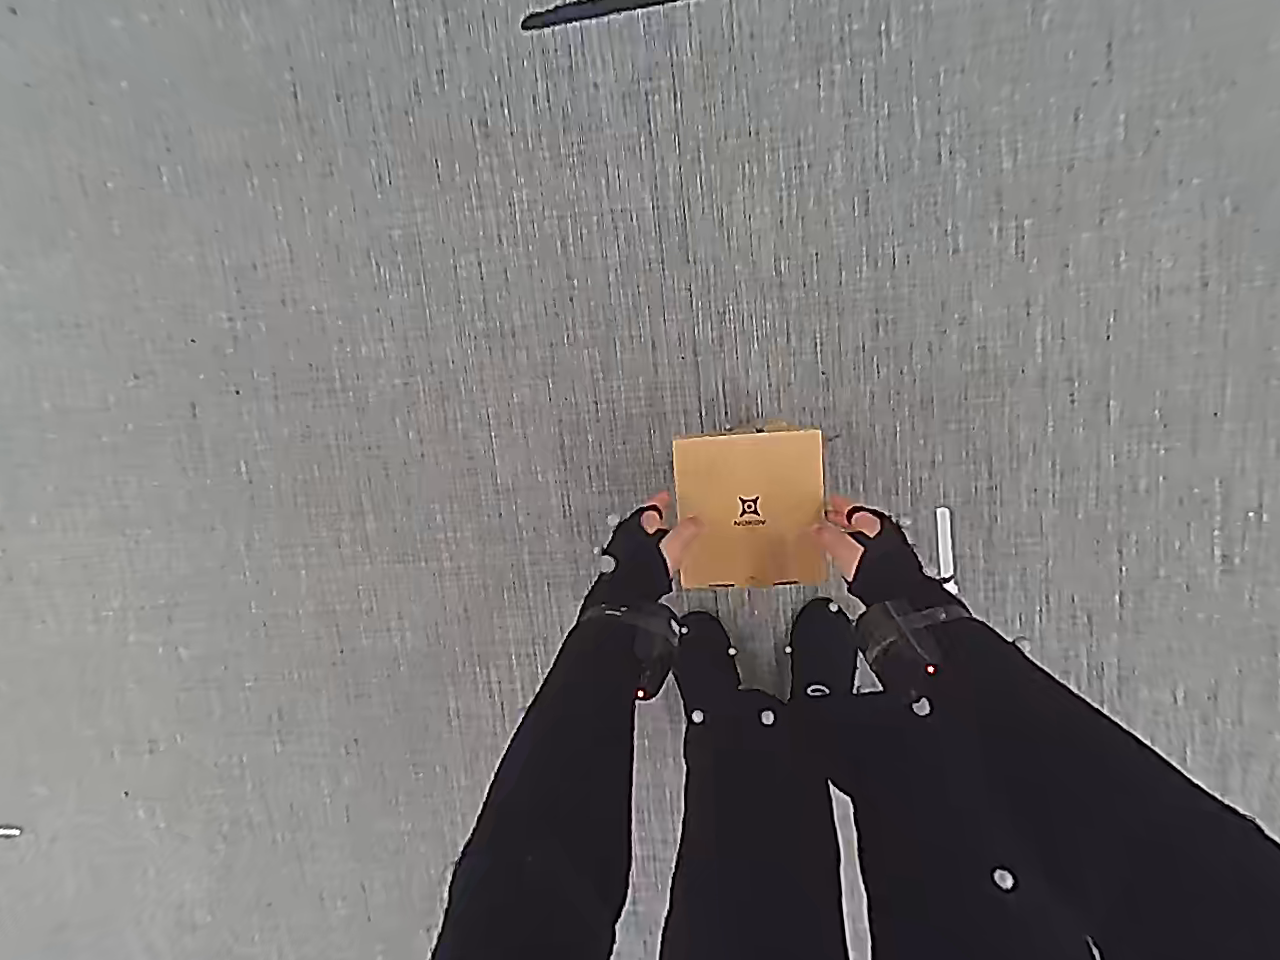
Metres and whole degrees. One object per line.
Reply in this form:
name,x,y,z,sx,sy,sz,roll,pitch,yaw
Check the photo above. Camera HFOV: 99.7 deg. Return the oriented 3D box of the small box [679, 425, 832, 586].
small box,0.135,0.023,0.680,0.168,0.176,0.179,-4,97,7
